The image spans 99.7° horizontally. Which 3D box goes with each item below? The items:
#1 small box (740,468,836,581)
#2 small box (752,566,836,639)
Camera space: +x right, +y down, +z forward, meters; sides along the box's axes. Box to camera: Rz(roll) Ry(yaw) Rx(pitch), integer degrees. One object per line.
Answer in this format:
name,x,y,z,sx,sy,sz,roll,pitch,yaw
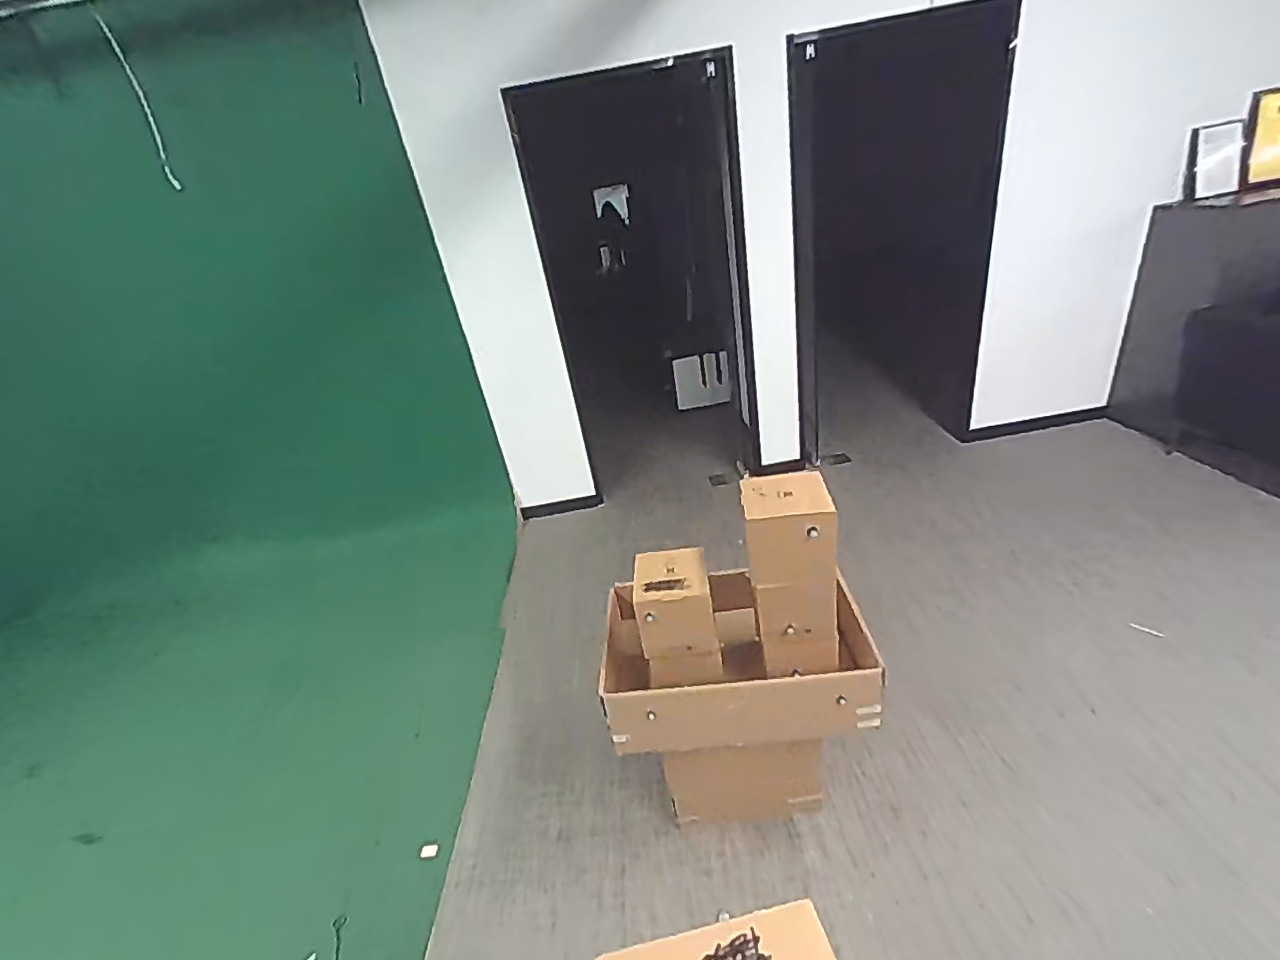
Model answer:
small box,0.312,0.095,1.149,0.179,0.176,0.168,-8,28,10
small box,0.343,0.235,1.231,0.168,0.176,0.179,-8,29,9
